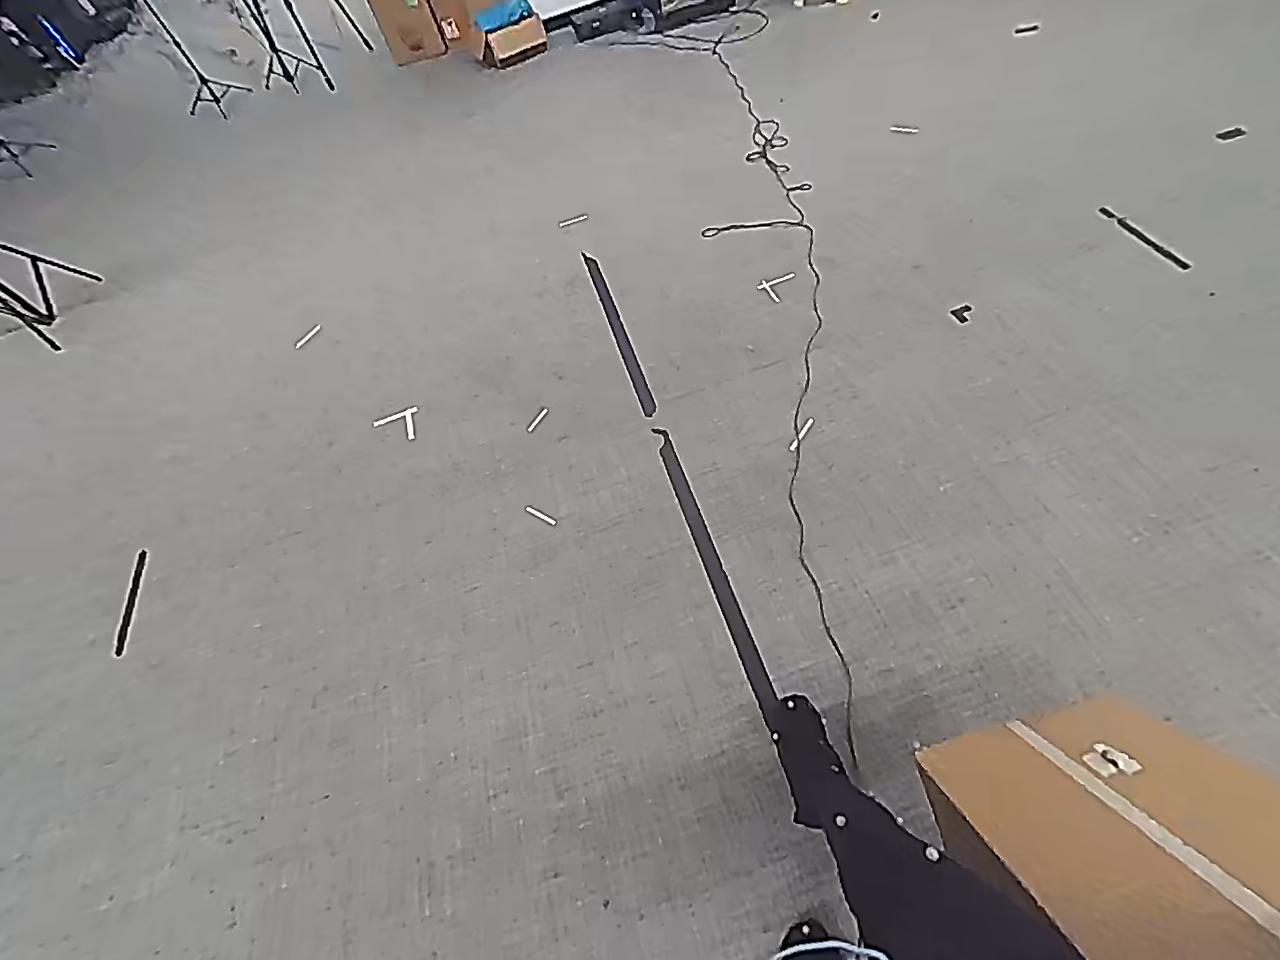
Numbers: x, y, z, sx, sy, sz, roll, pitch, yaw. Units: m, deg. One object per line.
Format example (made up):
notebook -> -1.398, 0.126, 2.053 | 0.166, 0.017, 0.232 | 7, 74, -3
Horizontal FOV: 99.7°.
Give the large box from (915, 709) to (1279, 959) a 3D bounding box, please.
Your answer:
large box -> 0.617, 0.546, 0.647 | 0.320, 0.408, 0.320 | -17, 90, 2
